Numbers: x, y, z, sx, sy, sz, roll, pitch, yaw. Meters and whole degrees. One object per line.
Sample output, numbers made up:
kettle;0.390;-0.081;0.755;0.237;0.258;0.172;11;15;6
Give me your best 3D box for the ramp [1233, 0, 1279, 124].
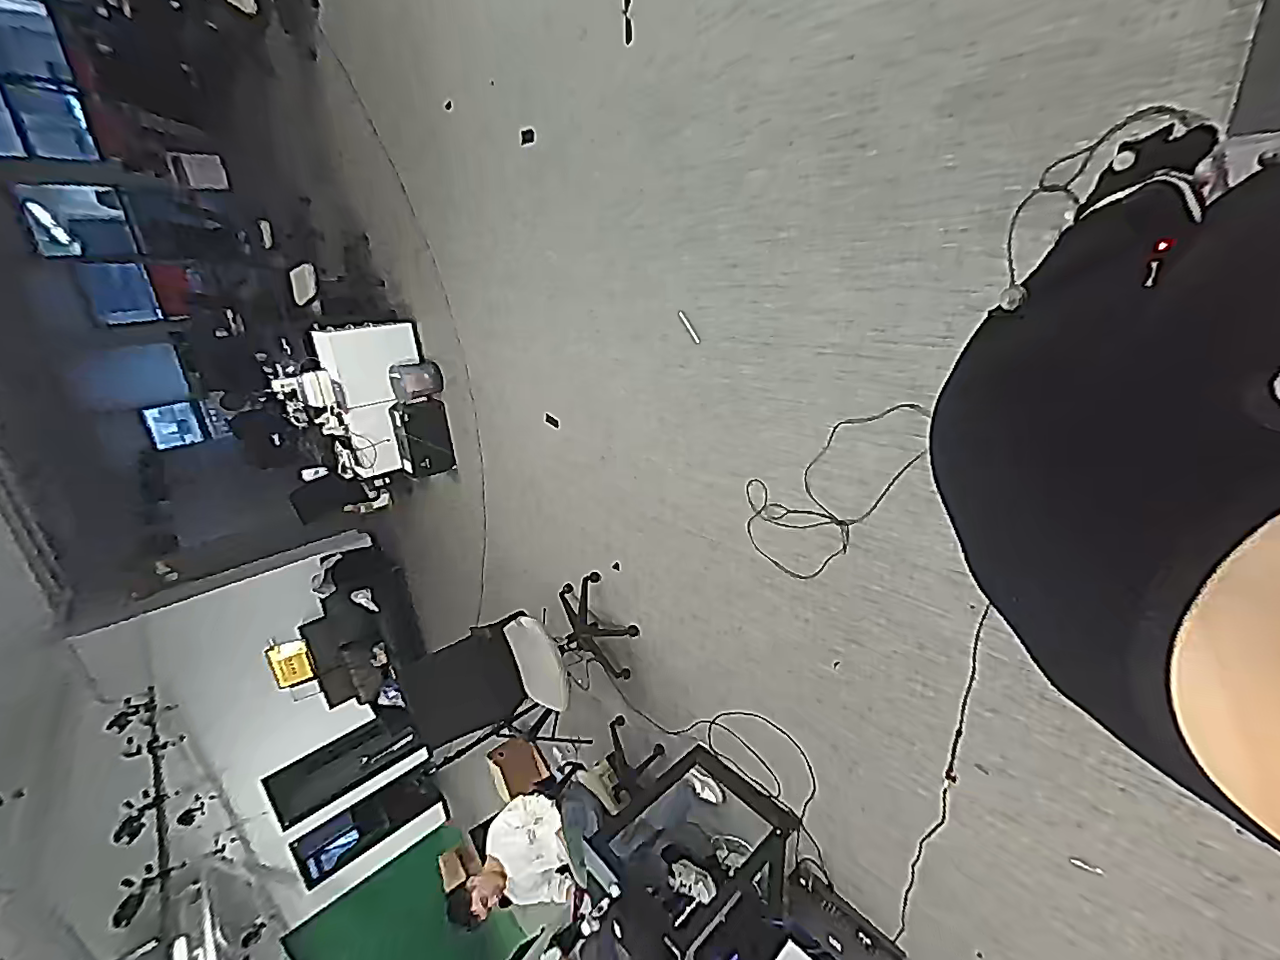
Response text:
ramp;1.078;-0.980;0.524;0.509;0.206;0.991;16;120;45
